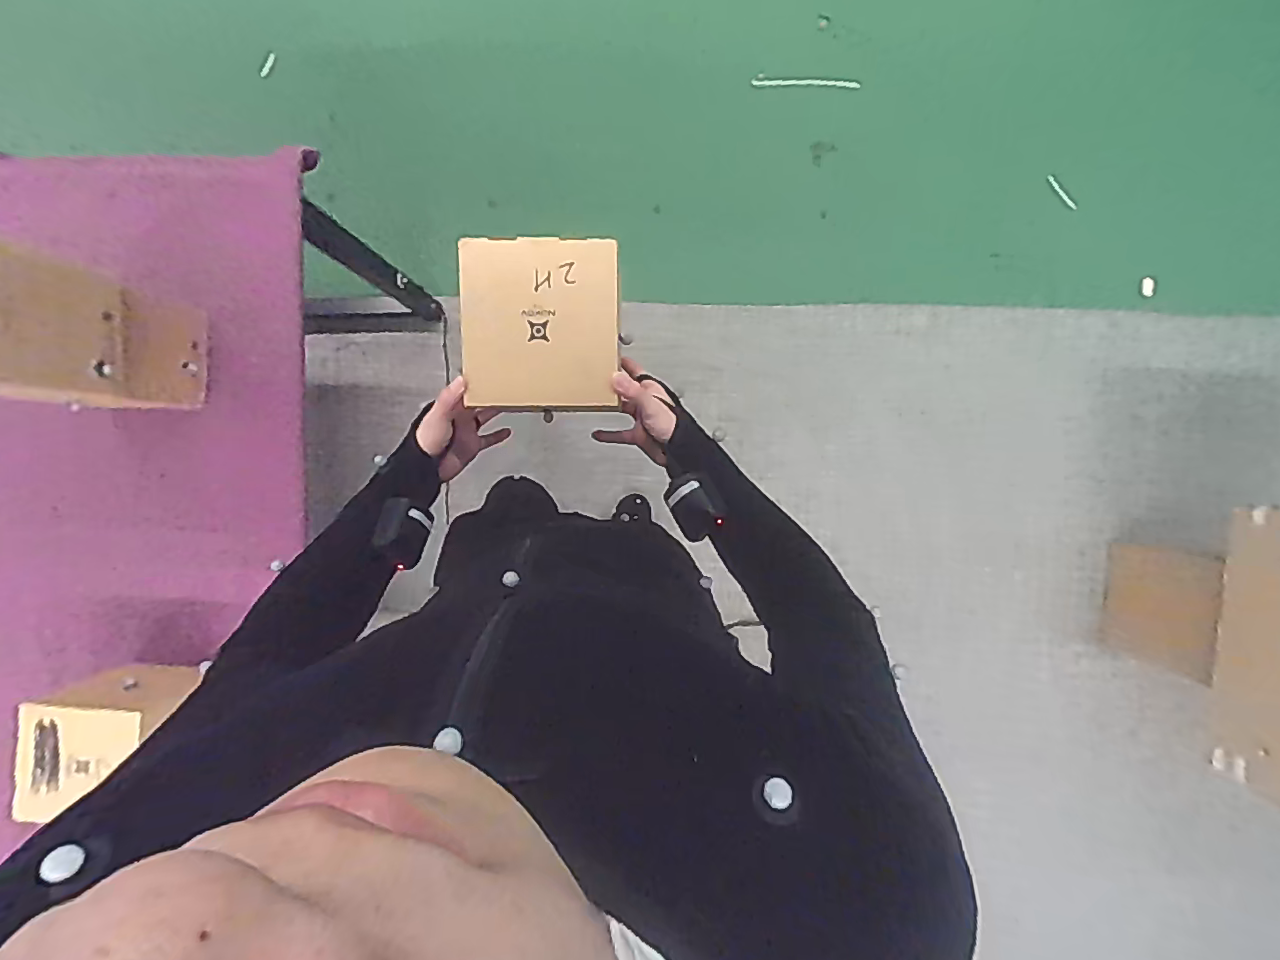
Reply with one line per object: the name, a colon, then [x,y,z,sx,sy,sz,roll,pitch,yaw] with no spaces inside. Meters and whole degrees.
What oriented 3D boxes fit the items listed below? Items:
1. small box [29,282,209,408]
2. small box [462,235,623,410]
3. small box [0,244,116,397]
small box: [-0.817,-0.201,0.830,0.179,0.176,0.168,3,93,2]
small box: [-0.106,-0.174,0.648,0.168,0.176,0.179,1,95,-1]
small box: [-0.803,-0.194,0.666,0.179,0.176,0.168,0,93,3]
